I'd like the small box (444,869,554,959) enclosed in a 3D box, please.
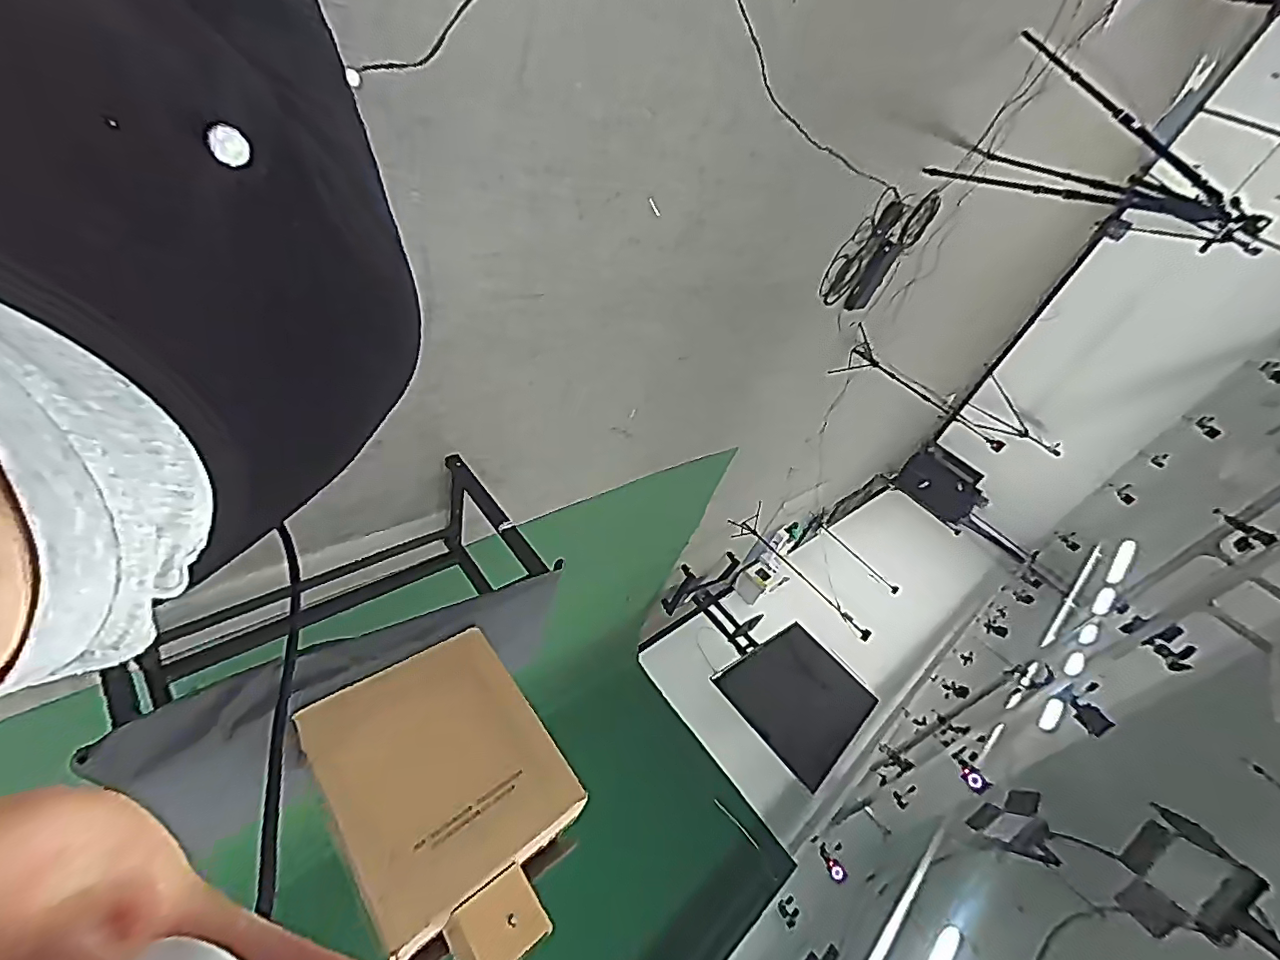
[{"bbox_3d":[-0.343,1.093,1.301,0.179,0.176,0.168,-16,141,-45],"label":"small box"}]
